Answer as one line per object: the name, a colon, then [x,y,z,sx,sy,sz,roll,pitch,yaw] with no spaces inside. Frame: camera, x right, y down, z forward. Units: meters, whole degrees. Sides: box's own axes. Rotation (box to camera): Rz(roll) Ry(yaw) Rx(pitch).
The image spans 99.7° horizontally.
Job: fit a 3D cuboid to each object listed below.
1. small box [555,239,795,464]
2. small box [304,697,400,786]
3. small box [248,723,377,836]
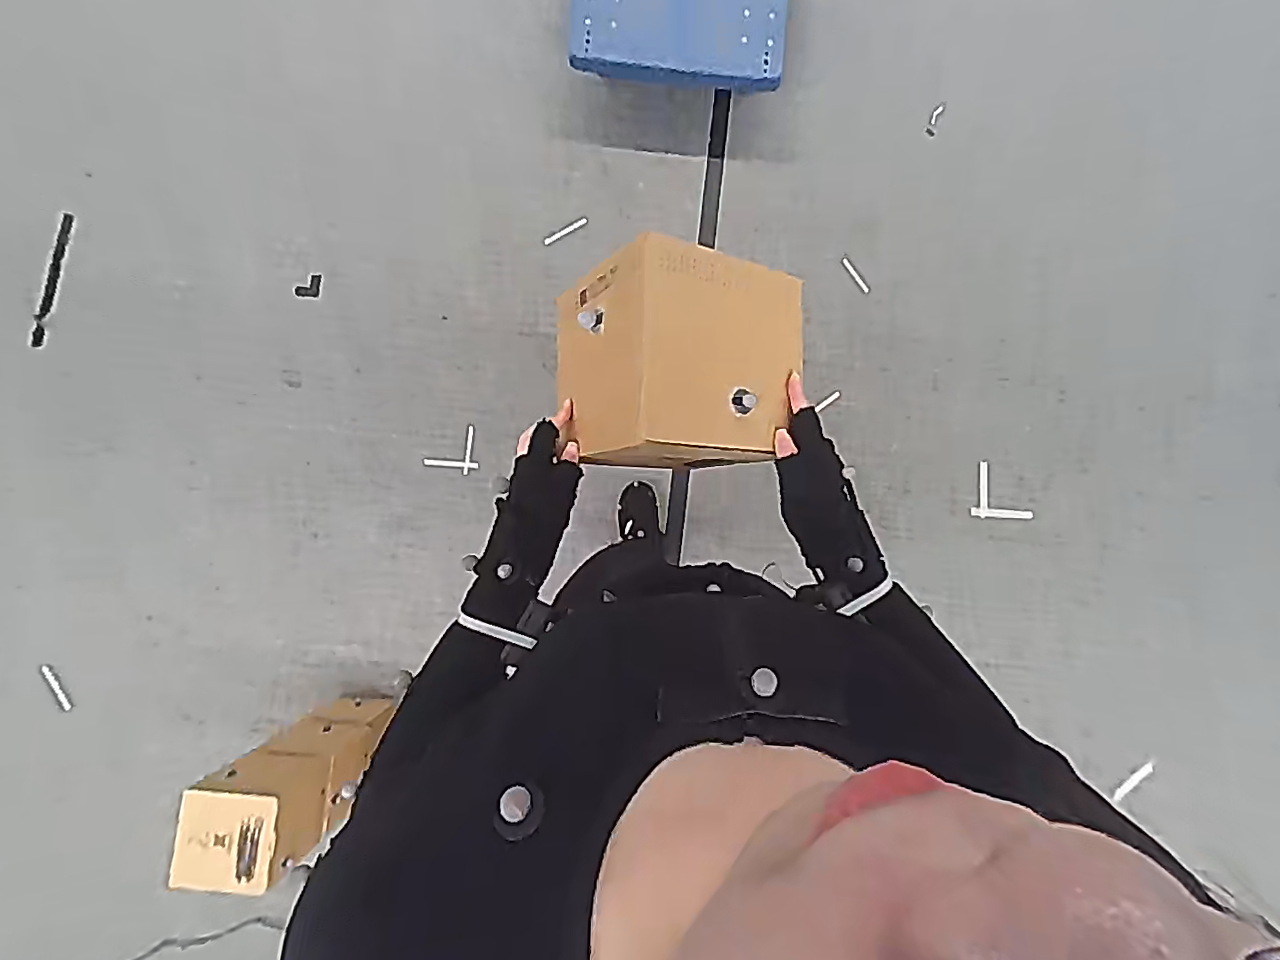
small box: [0.030,-0.106,0.520,0.179,0.168,0.176,2,86,-32]
small box: [-0.730,0.670,1.371,0.168,0.176,0.179,4,85,-1]
small box: [-0.722,0.659,1.207,0.179,0.176,0.168,4,85,0]
